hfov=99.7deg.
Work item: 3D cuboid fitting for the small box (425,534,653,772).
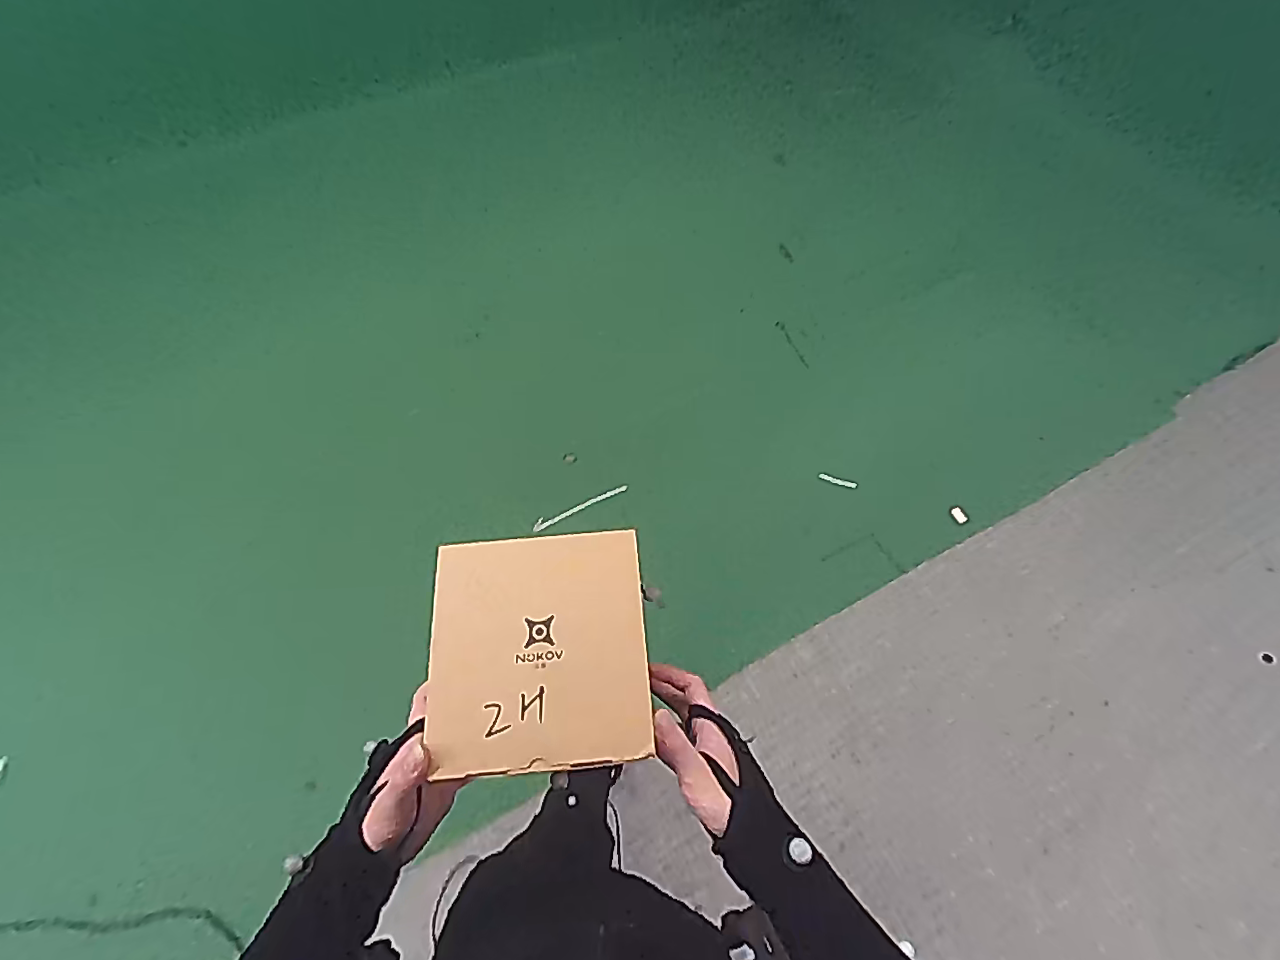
[{"bbox_3d":[-0.077,0.163,0.496,0.168,0.176,0.179,-4,64,-1],"label":"small box"}]
